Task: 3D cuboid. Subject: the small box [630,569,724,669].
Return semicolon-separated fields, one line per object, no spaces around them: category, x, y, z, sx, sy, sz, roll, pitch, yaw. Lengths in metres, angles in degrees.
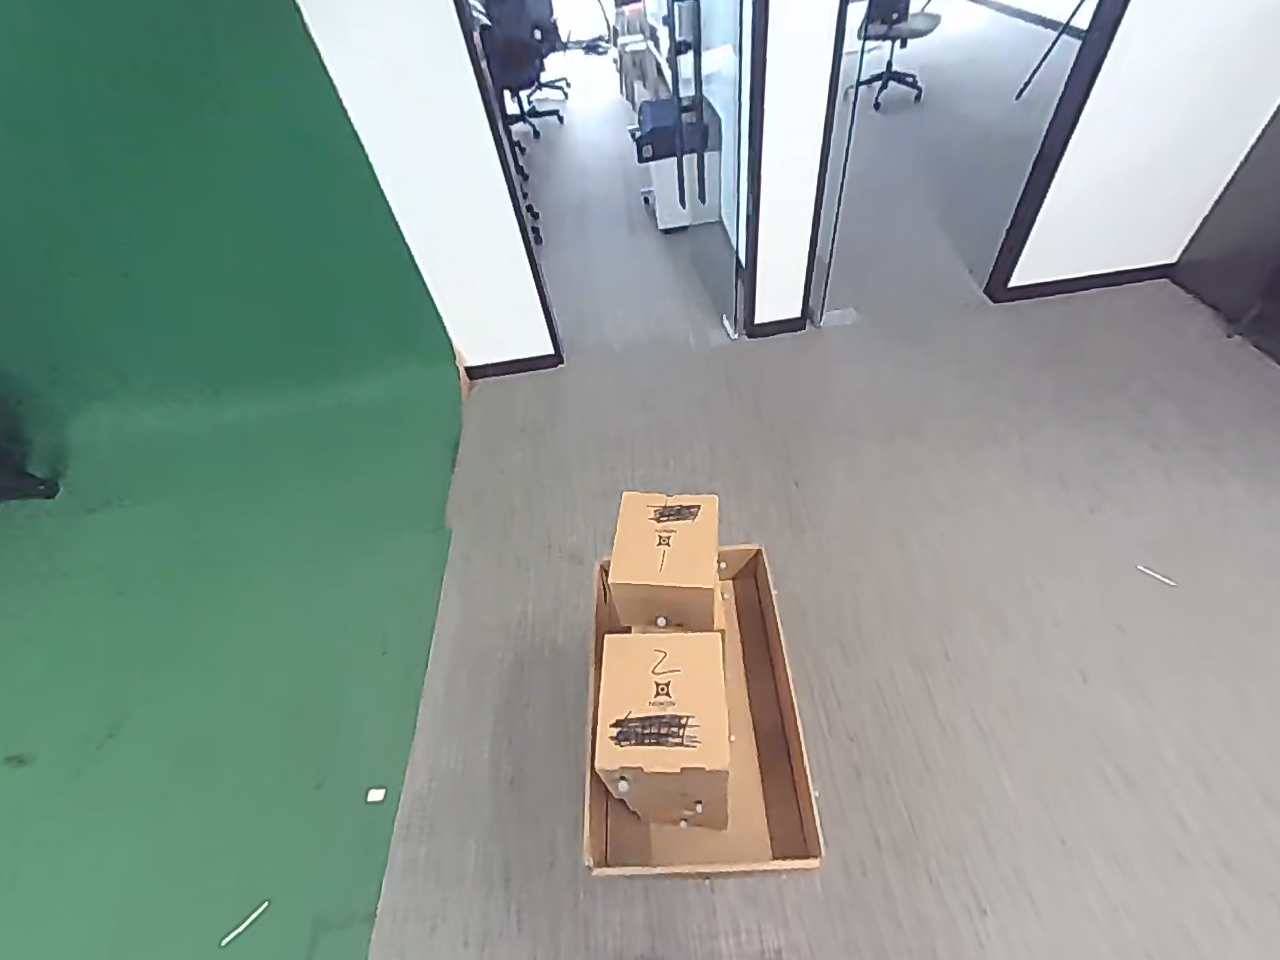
small box;0.069;0.248;1.051;0.168;0.176;0.179;-6;51;3

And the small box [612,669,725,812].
small box;0.056;0.431;0.889;0.168;0.176;0.179;-1;48;7

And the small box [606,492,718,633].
small box;0.046;0.141;0.928;0.168;0.176;0.179;2;52;10
